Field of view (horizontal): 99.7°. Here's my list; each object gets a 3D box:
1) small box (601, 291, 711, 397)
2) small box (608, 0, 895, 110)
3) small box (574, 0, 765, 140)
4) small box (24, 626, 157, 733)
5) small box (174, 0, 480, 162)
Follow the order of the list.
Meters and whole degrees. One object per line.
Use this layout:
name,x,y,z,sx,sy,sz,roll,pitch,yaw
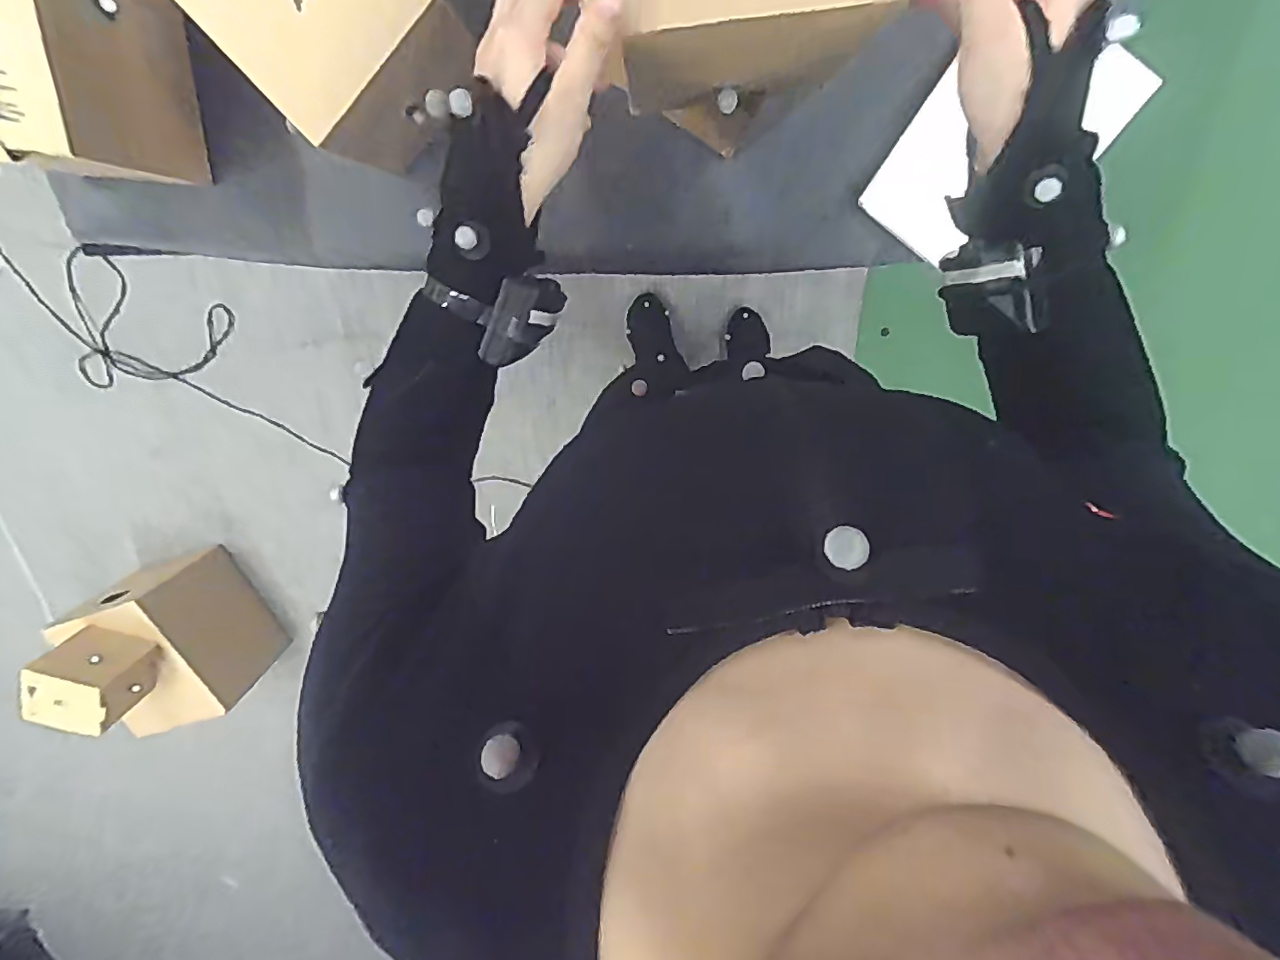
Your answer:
small box,0.046,-0.329,1.307,0.176,0.168,0.179,36,85,-41
small box,0.059,-0.371,0.348,0.168,0.176,0.179,-4,111,4
small box,0.062,-0.445,0.496,0.179,0.176,0.168,28,110,-8
small box,-1.374,0.496,1.365,0.179,0.176,0.168,20,111,-9
small box,-0.282,-0.432,0.508,0.168,0.176,0.179,-39,106,14
